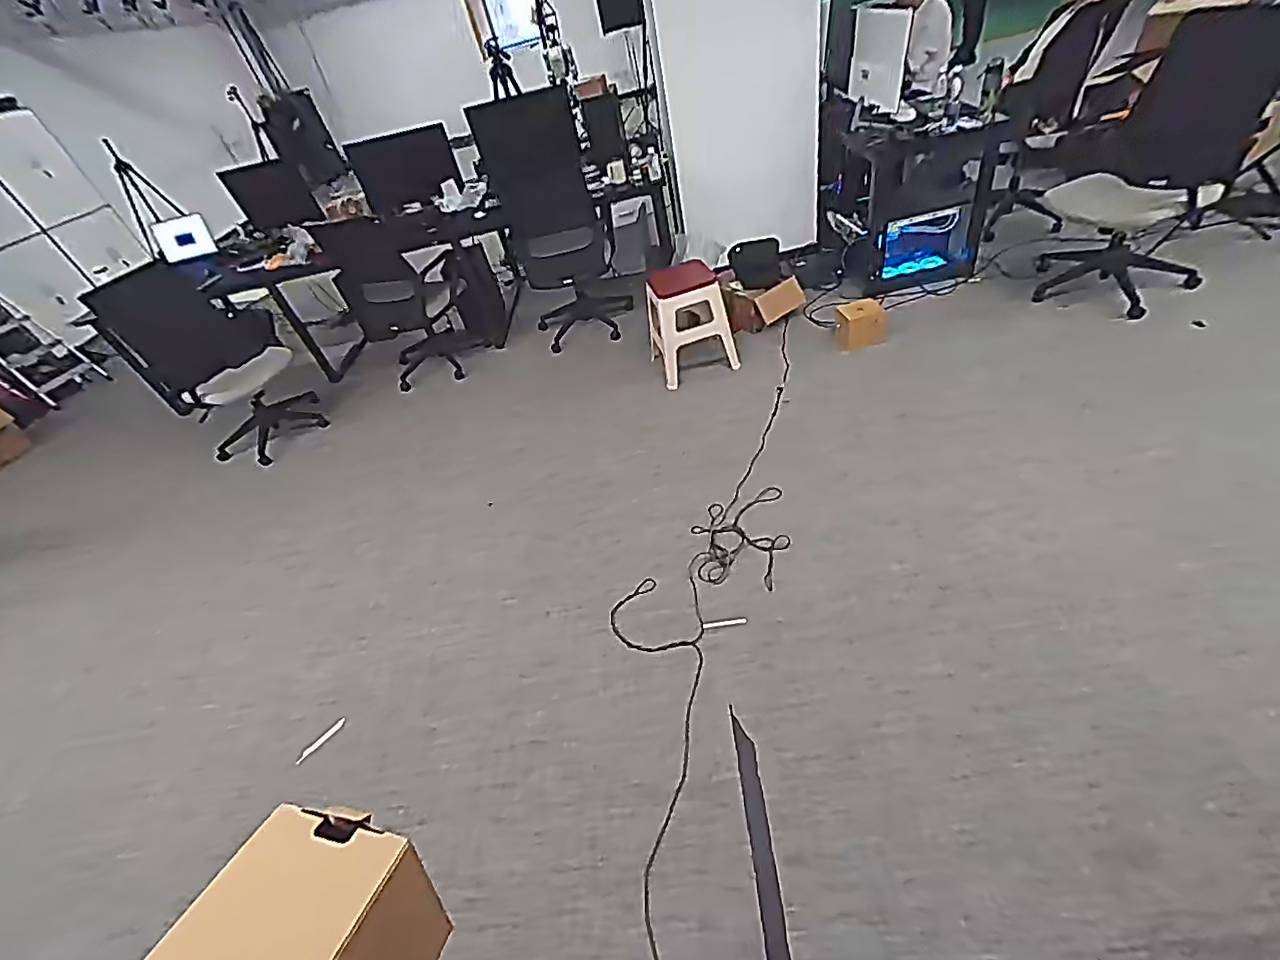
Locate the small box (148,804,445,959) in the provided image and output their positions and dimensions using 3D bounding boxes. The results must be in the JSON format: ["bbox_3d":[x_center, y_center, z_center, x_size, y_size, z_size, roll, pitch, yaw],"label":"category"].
[{"bbox_3d":[-0.312,0.455,0.508,0.168,0.176,0.179,3,27,17],"label":"small box"}]
